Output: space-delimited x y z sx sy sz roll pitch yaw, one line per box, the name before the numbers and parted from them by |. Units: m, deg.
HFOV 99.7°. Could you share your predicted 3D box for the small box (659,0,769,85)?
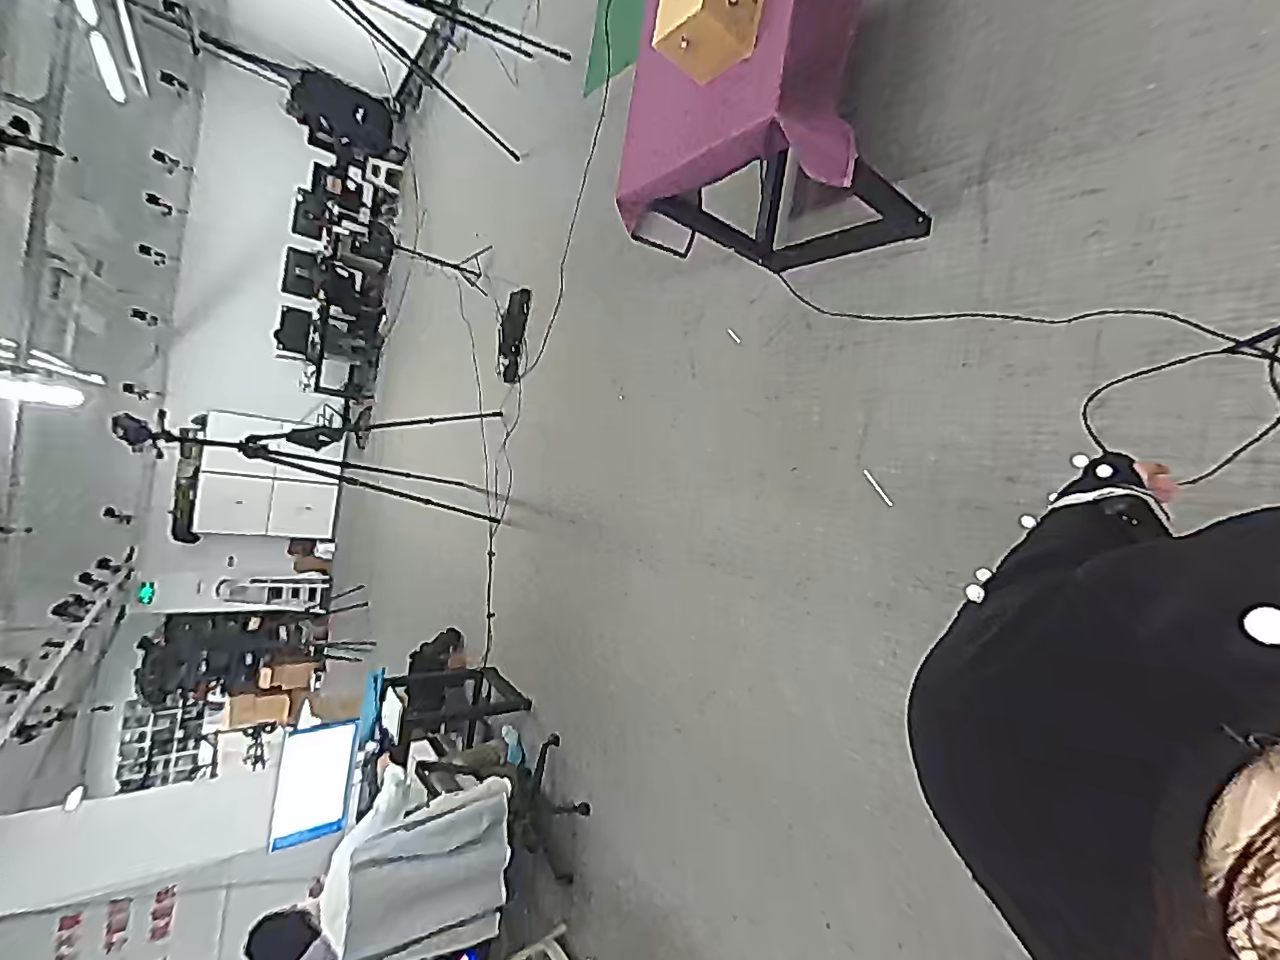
small box | 0.172 -1.058 1.236 0.179 0.176 0.168 17 97 54
